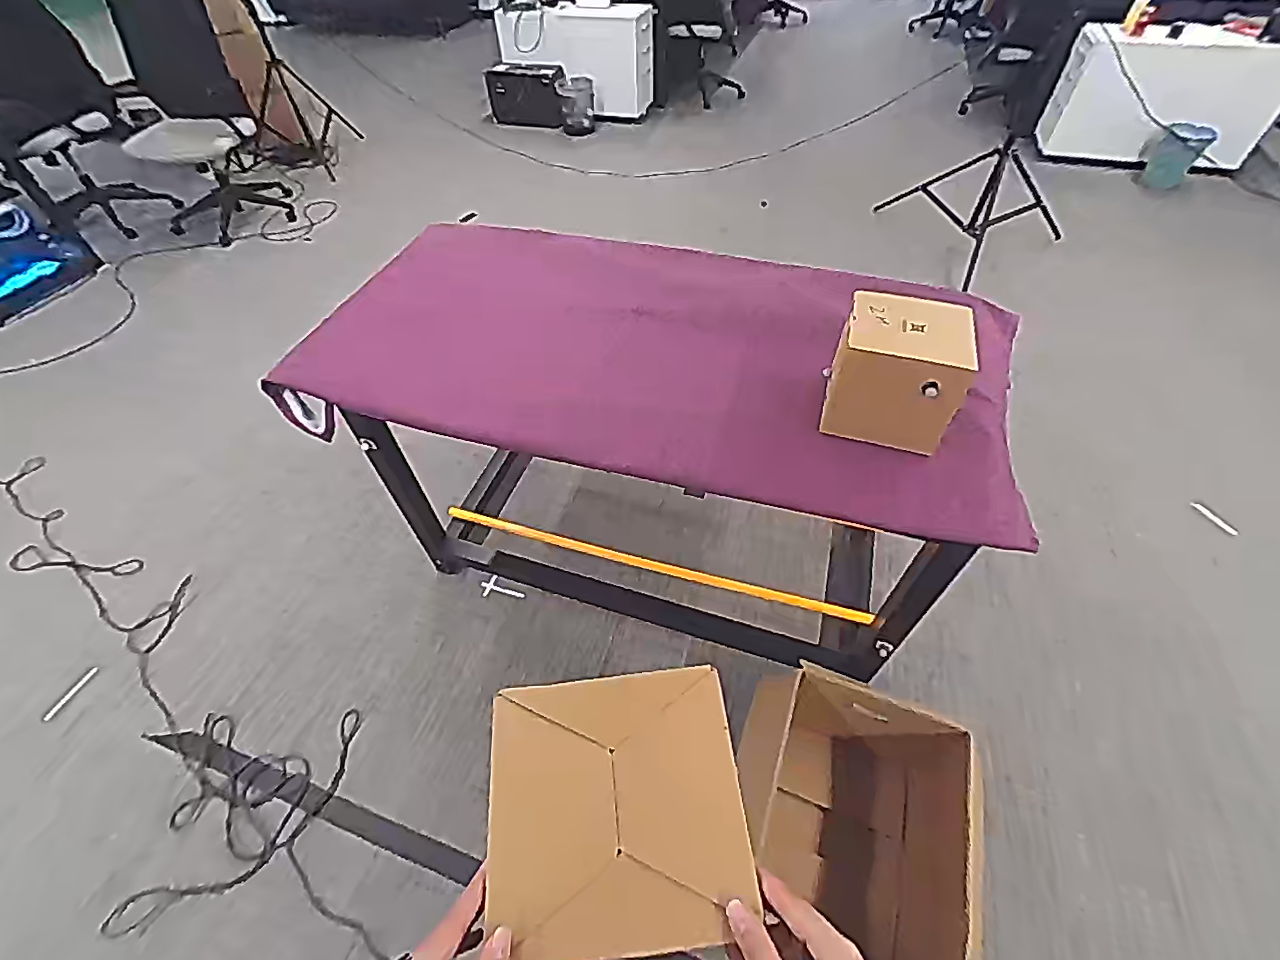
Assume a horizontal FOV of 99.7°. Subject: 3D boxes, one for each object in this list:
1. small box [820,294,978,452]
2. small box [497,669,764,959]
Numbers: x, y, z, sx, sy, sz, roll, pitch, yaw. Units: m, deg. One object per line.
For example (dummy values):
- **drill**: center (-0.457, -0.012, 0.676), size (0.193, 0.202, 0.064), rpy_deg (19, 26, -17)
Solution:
- **small box**: center (0.404, -0.166, 0.860), size (0.179, 0.176, 0.168), rpy_deg (14, 50, 13)
- **small box**: center (-0.015, 0.266, 0.439), size (0.179, 0.176, 0.168), rpy_deg (-5, 53, -4)
